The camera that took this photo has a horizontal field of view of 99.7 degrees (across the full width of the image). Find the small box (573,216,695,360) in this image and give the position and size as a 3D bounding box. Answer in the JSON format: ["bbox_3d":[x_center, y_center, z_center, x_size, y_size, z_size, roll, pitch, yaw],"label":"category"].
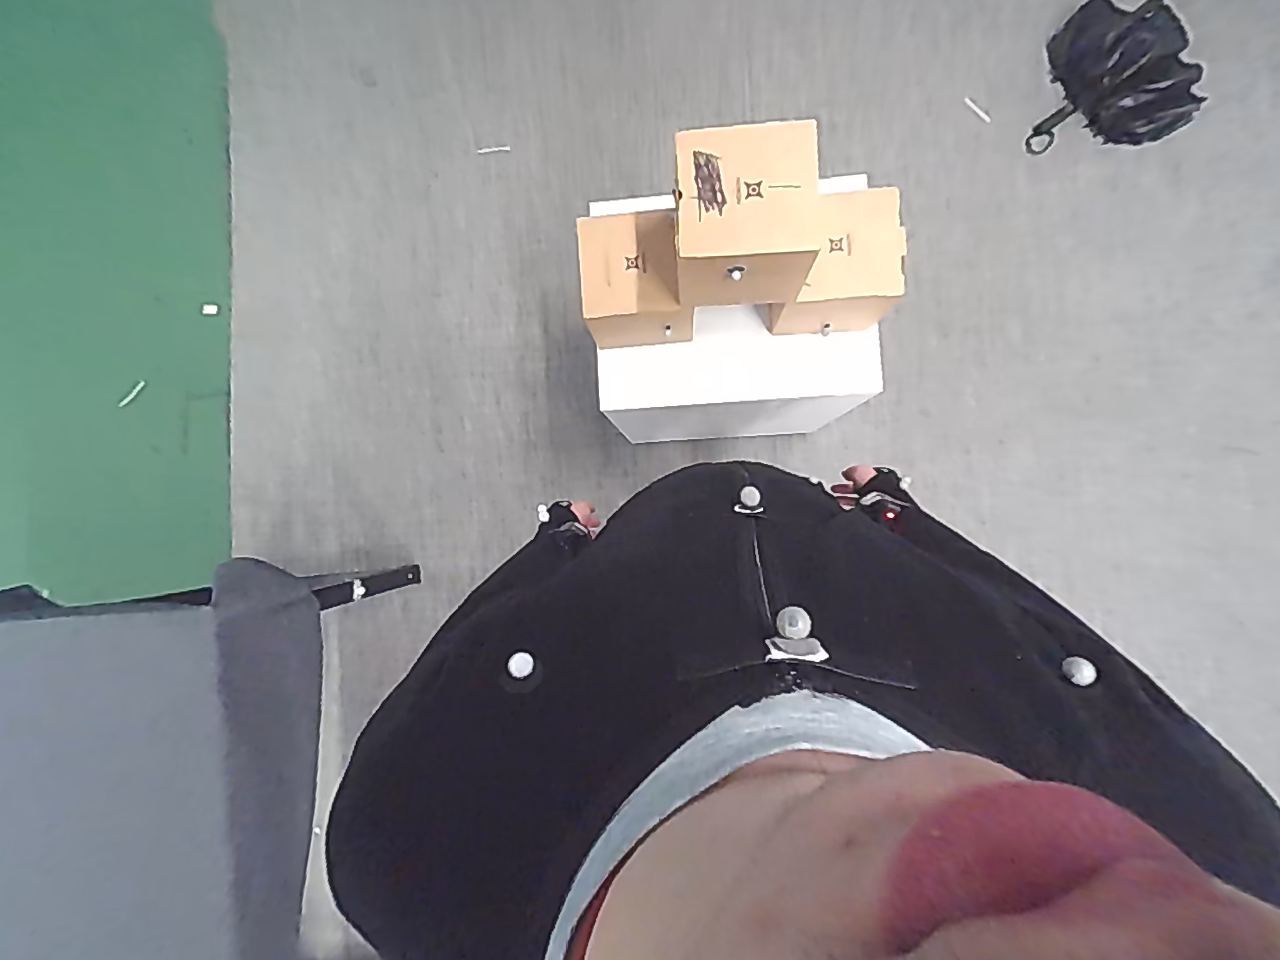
[{"bbox_3d":[-0.007,-0.309,0.900,0.179,0.176,0.168,-6,85,3],"label":"small box"}]

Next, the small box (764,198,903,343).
[{"bbox_3d":[0.304,-0.332,0.886,0.179,0.176,0.168,-3,86,4],"label":"small box"}]

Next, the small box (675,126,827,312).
[{"bbox_3d":[0.139,-0.337,0.730,0.179,0.176,0.168,-3,86,3],"label":"small box"}]
